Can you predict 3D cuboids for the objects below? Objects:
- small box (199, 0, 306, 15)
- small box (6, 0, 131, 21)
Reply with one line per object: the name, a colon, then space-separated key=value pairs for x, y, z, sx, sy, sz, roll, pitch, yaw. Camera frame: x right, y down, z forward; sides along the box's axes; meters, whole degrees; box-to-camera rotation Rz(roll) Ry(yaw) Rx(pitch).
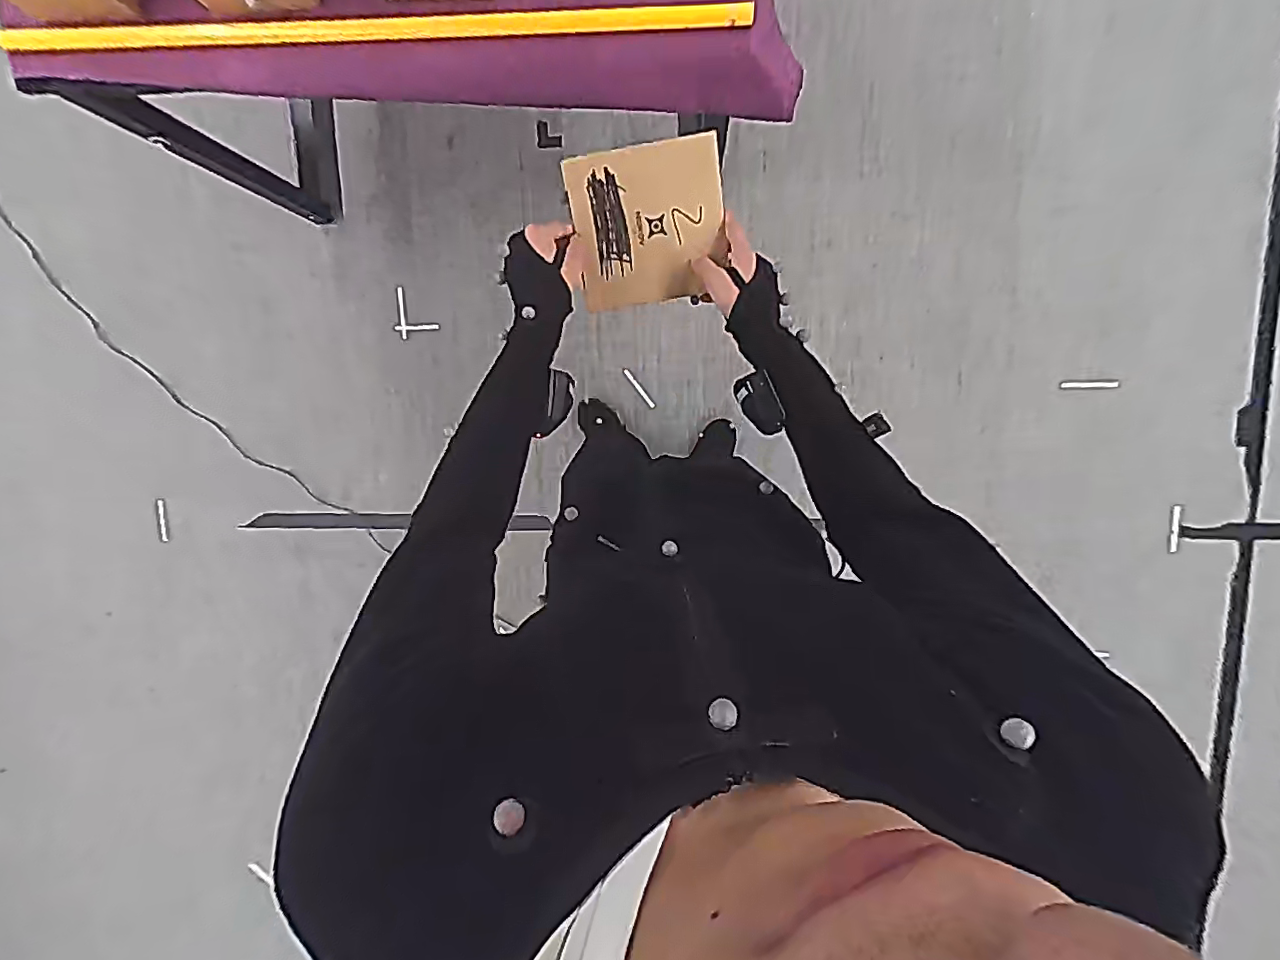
small box: x=-0.595 y=-0.806 z=0.763 sx=0.179 sy=0.176 sz=0.168 roll=-1 pitch=97 yaw=4
small box: x=-0.890 y=-0.810 z=0.781 sx=0.179 sy=0.176 sz=0.168 roll=-1 pitch=97 yaw=2
